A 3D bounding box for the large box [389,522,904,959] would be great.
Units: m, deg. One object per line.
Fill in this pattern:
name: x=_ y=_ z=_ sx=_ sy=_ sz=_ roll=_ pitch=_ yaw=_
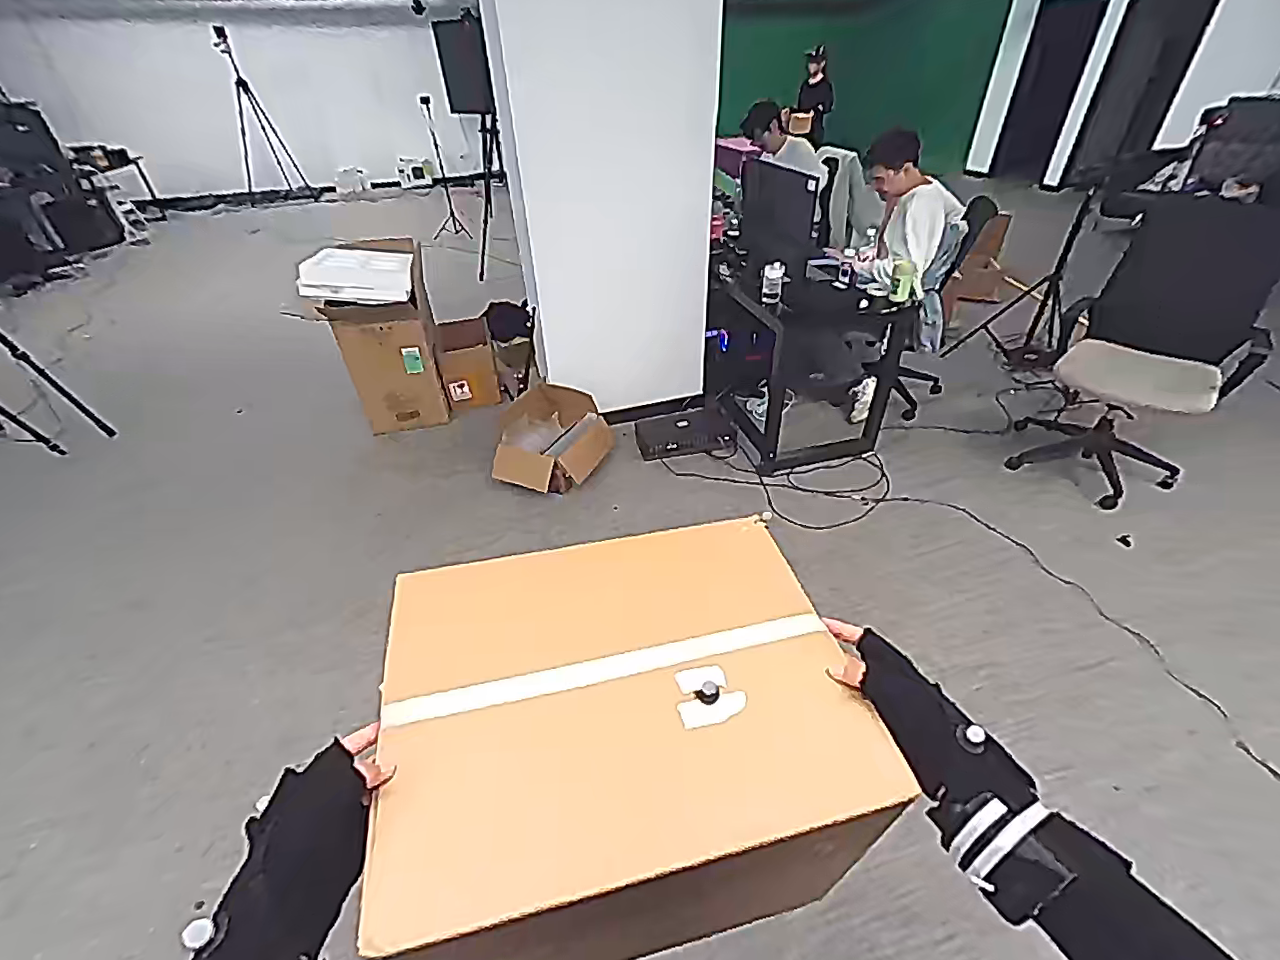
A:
large box: x=-0.018 y=0.290 z=0.596 sx=0.408 sy=0.320 sz=0.320 roll=-8 pitch=42 yaw=-12
